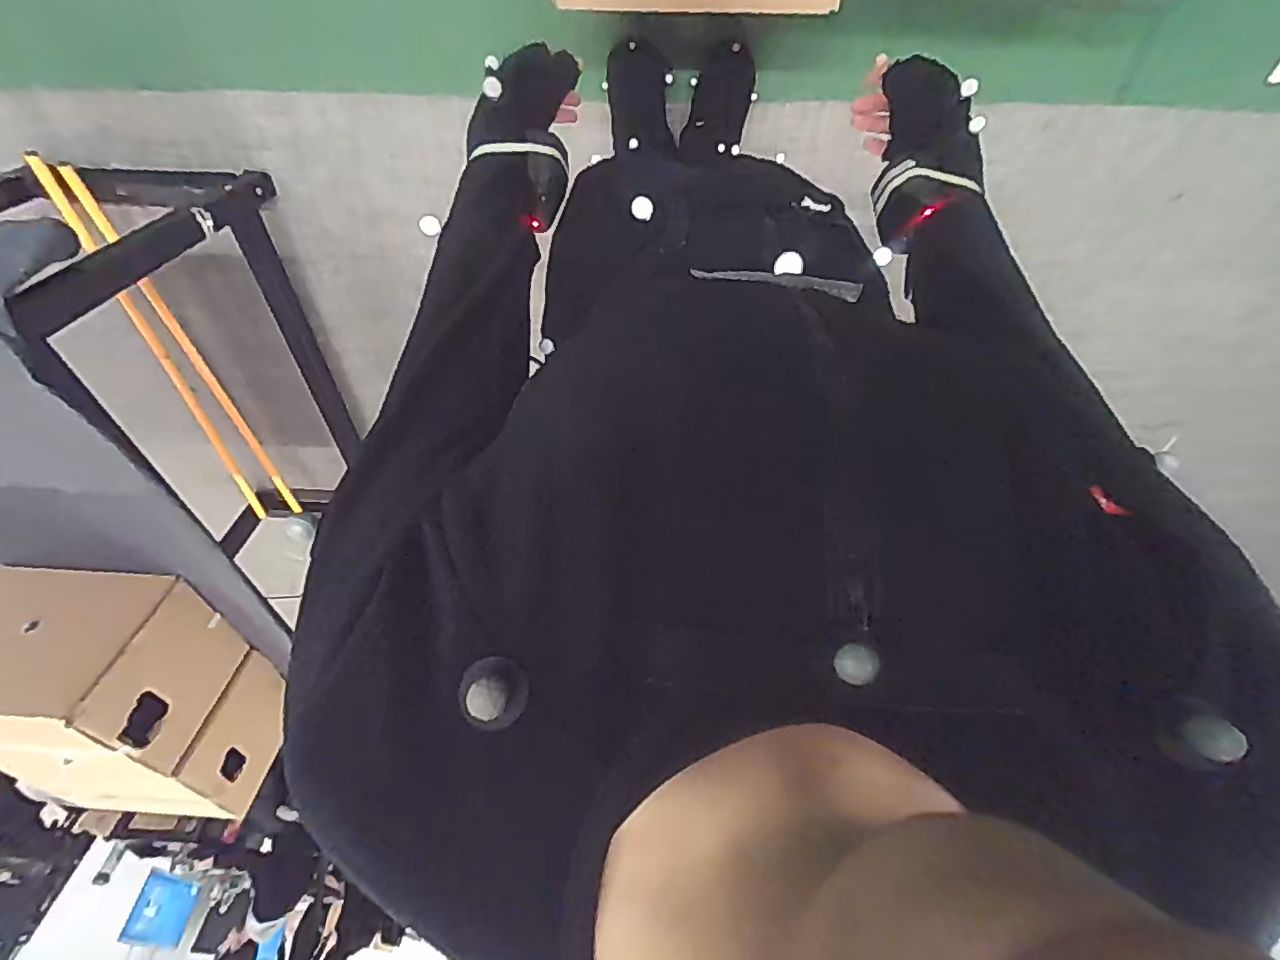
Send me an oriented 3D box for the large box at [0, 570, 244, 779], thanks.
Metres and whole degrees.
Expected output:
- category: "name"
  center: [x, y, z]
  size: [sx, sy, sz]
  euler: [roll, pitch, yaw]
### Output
- category: "large box"
  center: [-1.181, 0.407, 1.140]
  size: [0.408, 0.320, 0.320]
  euler: [2, 135, 1]
